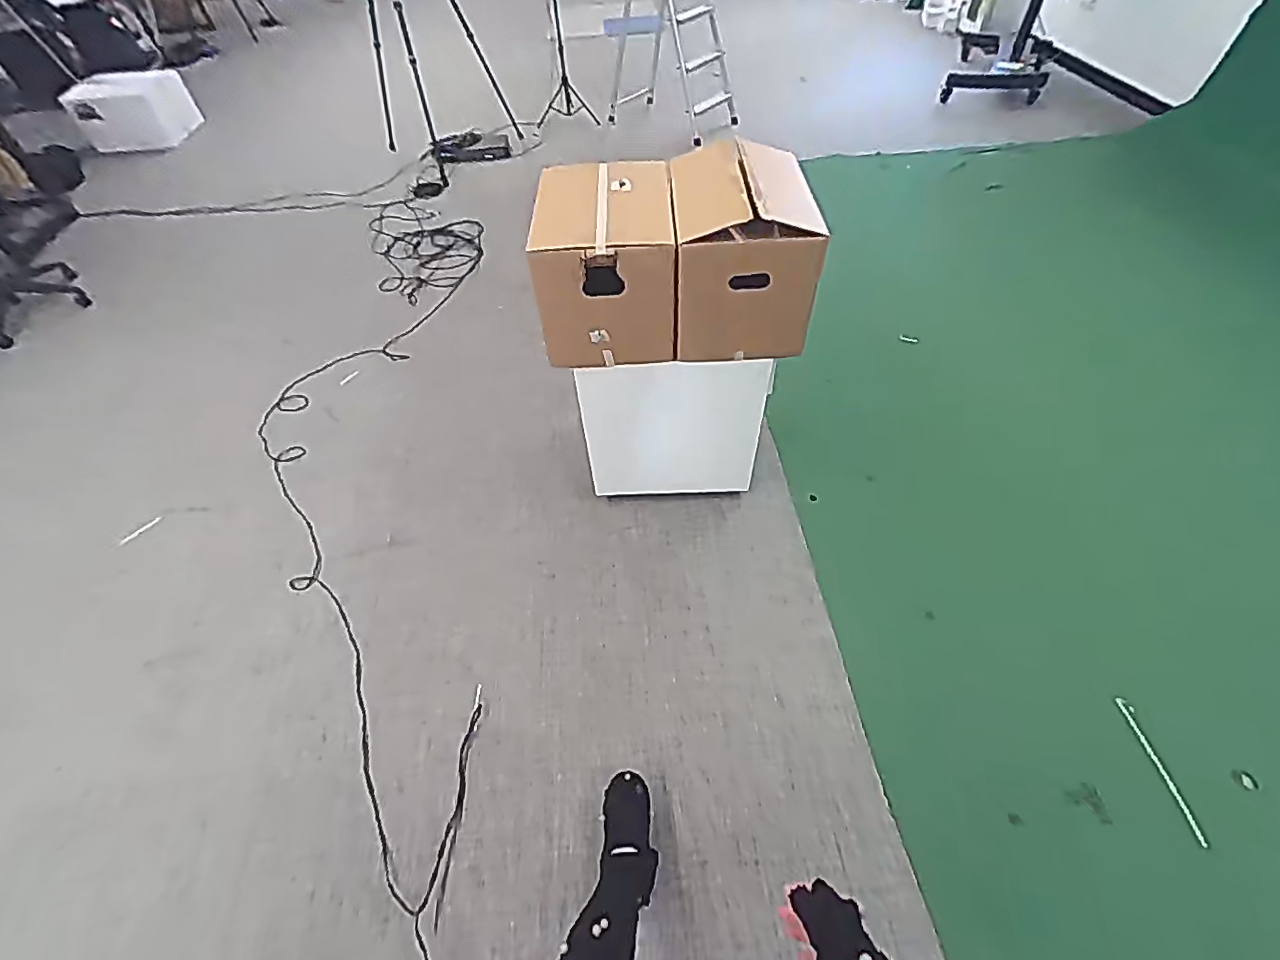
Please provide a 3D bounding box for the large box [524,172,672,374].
[{"bbox_3d":[-0.090,-0.519,1.358,0.320,0.320,0.408,-3,51,1],"label":"large box"}]
